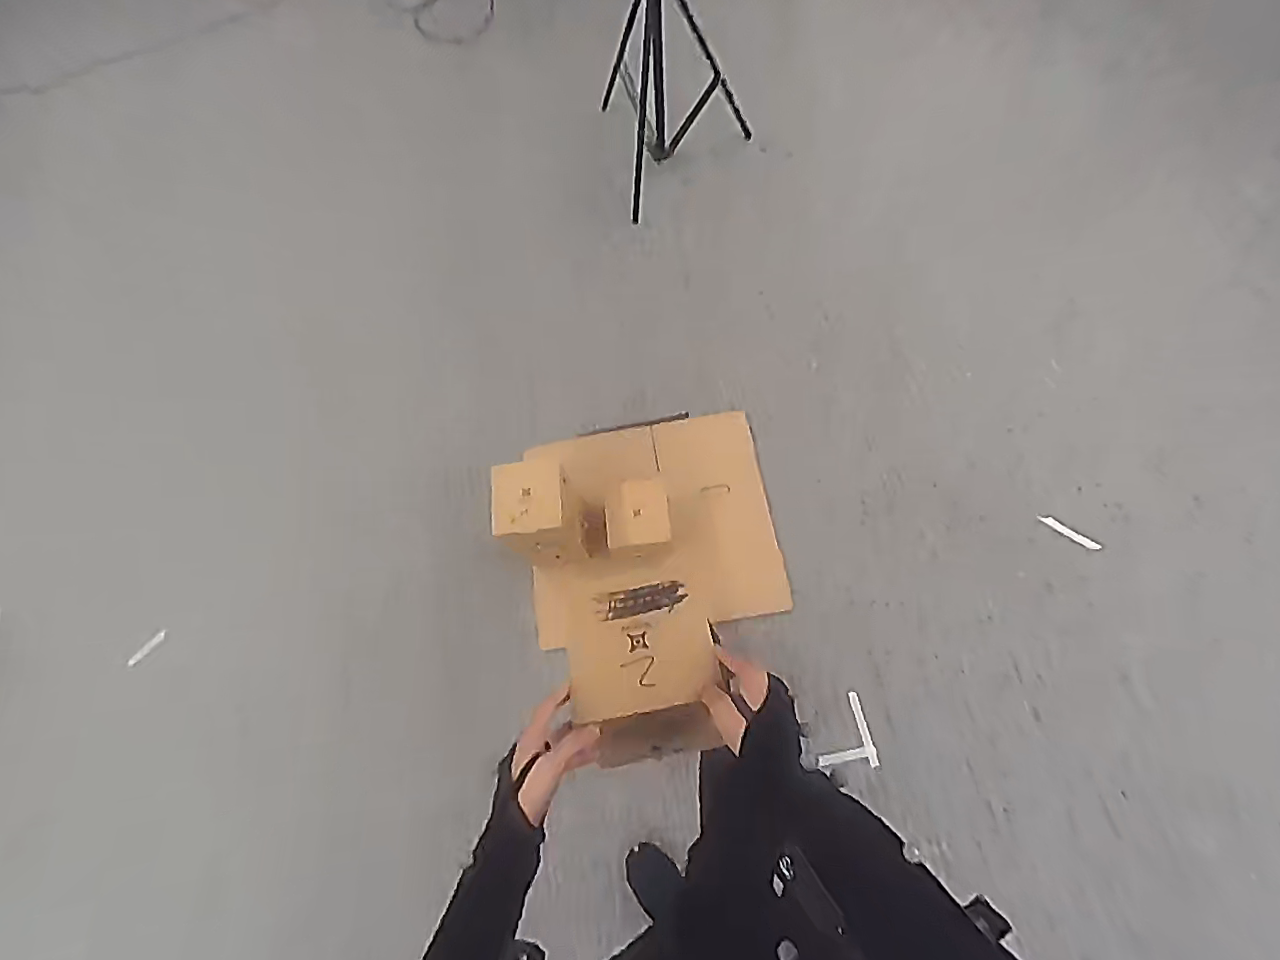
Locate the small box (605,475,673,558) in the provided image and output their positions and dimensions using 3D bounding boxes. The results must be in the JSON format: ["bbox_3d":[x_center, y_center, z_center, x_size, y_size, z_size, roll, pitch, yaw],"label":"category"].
[{"bbox_3d":[-0.002,0.103,1.464,0.168,0.176,0.179,-6,70,2],"label":"small box"}]

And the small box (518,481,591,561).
[{"bbox_3d":[-0.232,0.119,1.475,0.168,0.176,0.179,-8,70,2],"label":"small box"}]

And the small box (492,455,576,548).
[{"bbox_3d":[-0.254,0.058,1.323,0.168,0.176,0.179,-7,70,3],"label":"small box"}]
